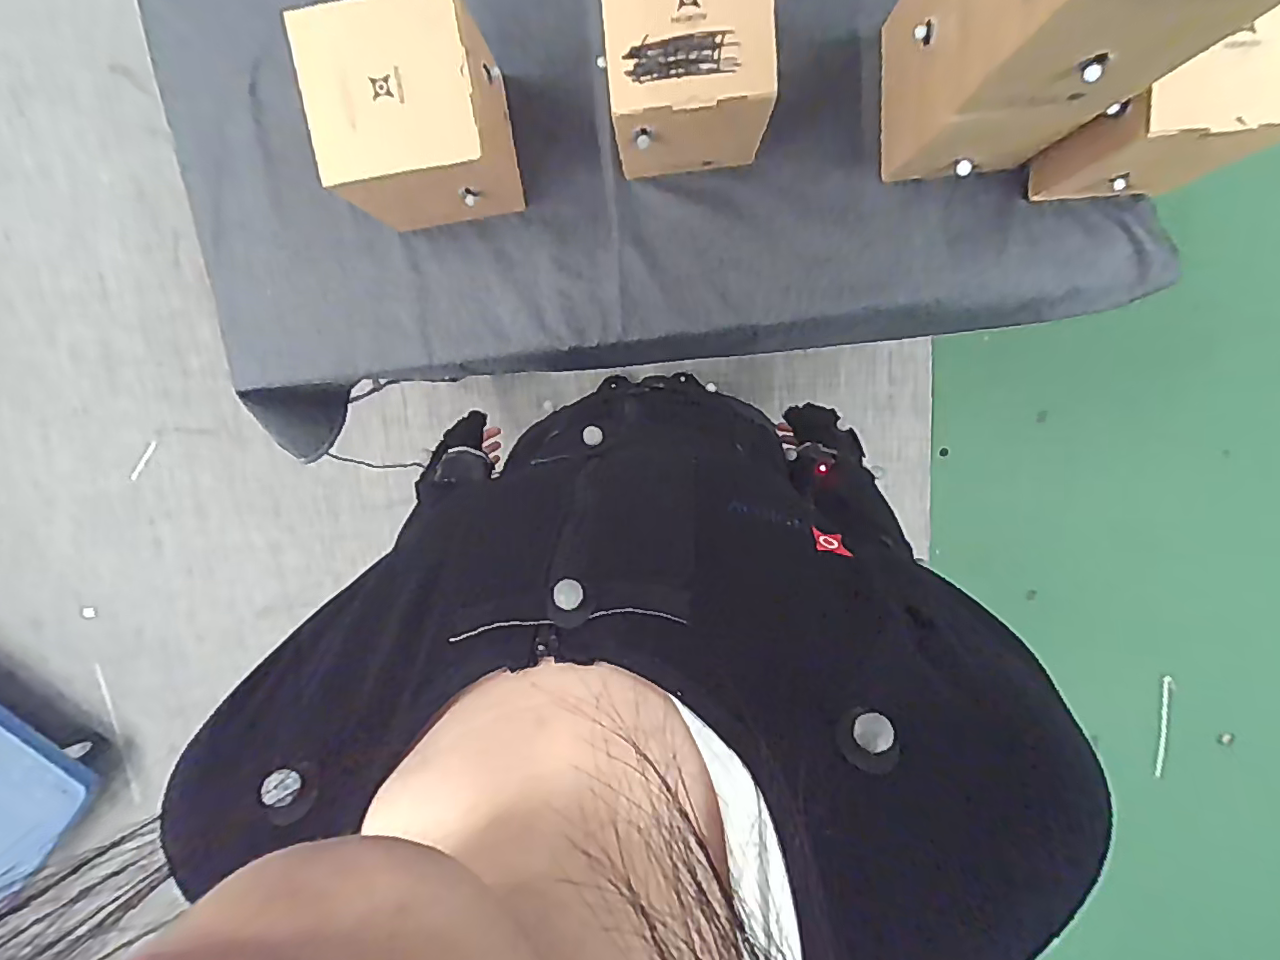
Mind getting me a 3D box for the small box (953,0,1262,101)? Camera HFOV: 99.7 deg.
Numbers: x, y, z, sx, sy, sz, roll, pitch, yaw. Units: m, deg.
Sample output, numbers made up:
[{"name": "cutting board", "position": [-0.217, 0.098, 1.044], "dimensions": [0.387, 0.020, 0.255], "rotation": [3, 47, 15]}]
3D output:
[{"name": "small box", "position": [0.371, -0.428, 0.423], "dimensions": [0.168, 0.176, 0.179], "rotation": [-2, 99, 3]}]
